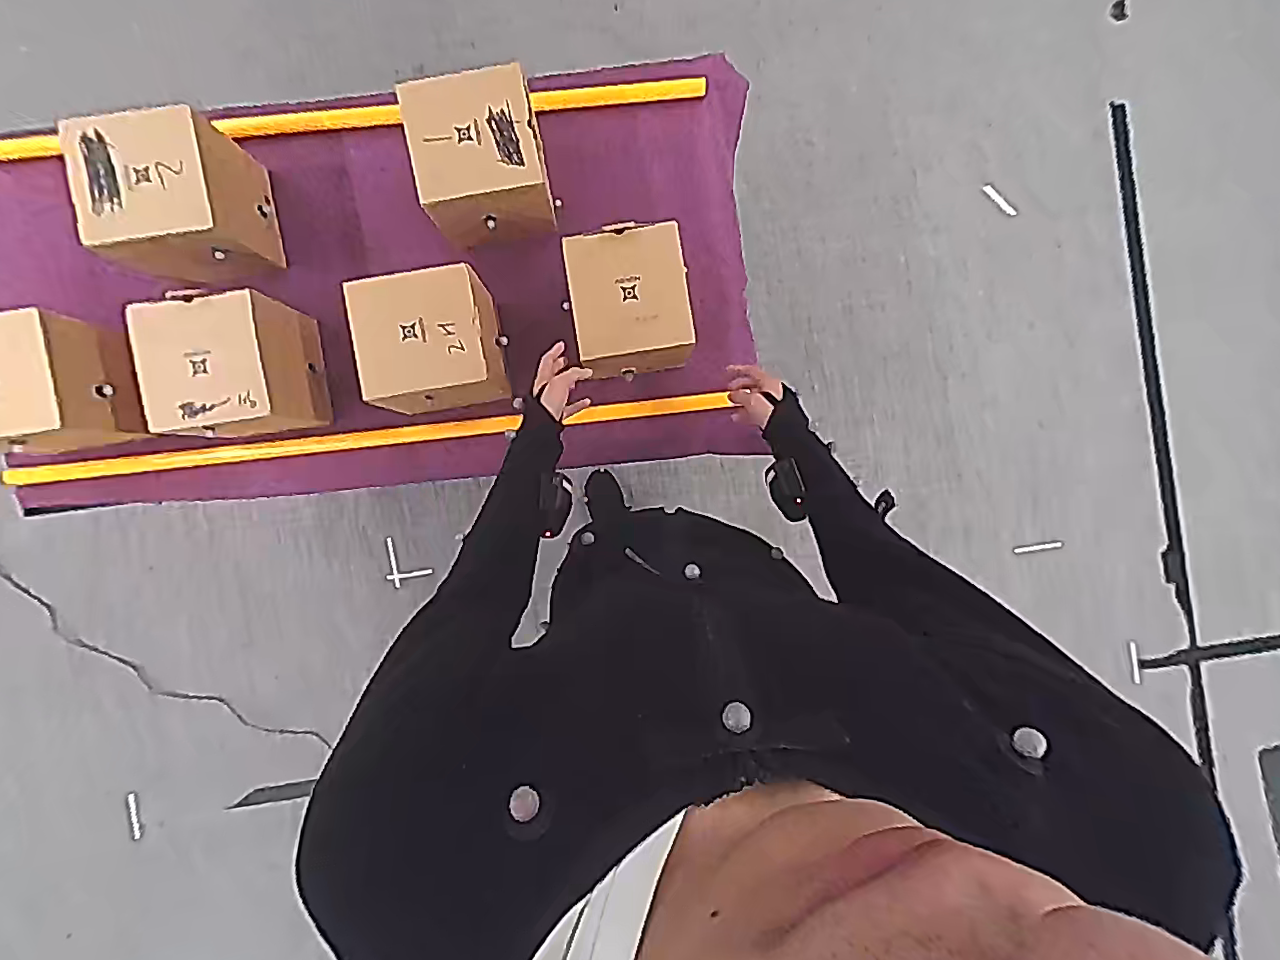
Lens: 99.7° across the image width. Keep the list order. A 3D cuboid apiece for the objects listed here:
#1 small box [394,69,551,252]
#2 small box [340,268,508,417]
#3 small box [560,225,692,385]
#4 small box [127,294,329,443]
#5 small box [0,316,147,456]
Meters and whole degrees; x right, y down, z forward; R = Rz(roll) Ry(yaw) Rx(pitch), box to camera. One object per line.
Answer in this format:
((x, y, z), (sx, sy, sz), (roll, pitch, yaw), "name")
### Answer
((-0.237, -0.466, 0.814), (0.179, 0.176, 0.168), (-11, 93, -1), "small box")
((-0.313, -0.196, 0.816), (0.179, 0.176, 0.168), (-10, 90, -2), "small box")
((-0.021, -0.256, 0.825), (0.168, 0.176, 0.179), (-9, 89, 0), "small box")
((-0.597, -0.156, 0.806), (0.168, 0.176, 0.179), (-8, 91, -2), "small box")
((-0.876, -0.128, 0.794), (0.179, 0.176, 0.168), (-9, 91, -3), "small box")
